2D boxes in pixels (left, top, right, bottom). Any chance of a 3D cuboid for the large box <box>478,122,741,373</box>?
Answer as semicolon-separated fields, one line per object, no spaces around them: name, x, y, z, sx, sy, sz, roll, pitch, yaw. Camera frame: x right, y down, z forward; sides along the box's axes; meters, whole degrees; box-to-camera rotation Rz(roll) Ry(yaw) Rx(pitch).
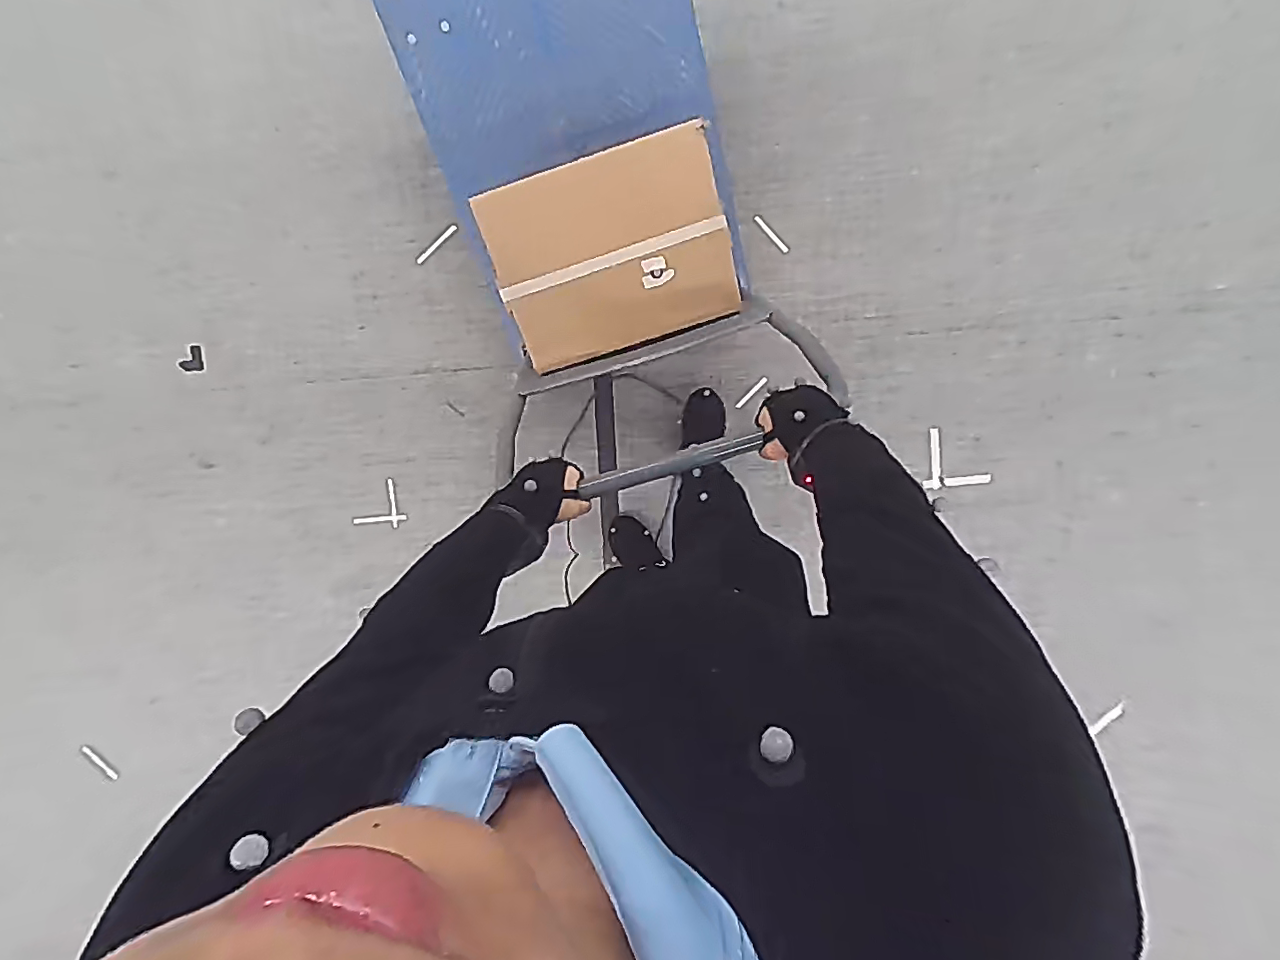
large box;-0.055;-0.455;1.095;0.408;0.320;0.320;-18;116;4
